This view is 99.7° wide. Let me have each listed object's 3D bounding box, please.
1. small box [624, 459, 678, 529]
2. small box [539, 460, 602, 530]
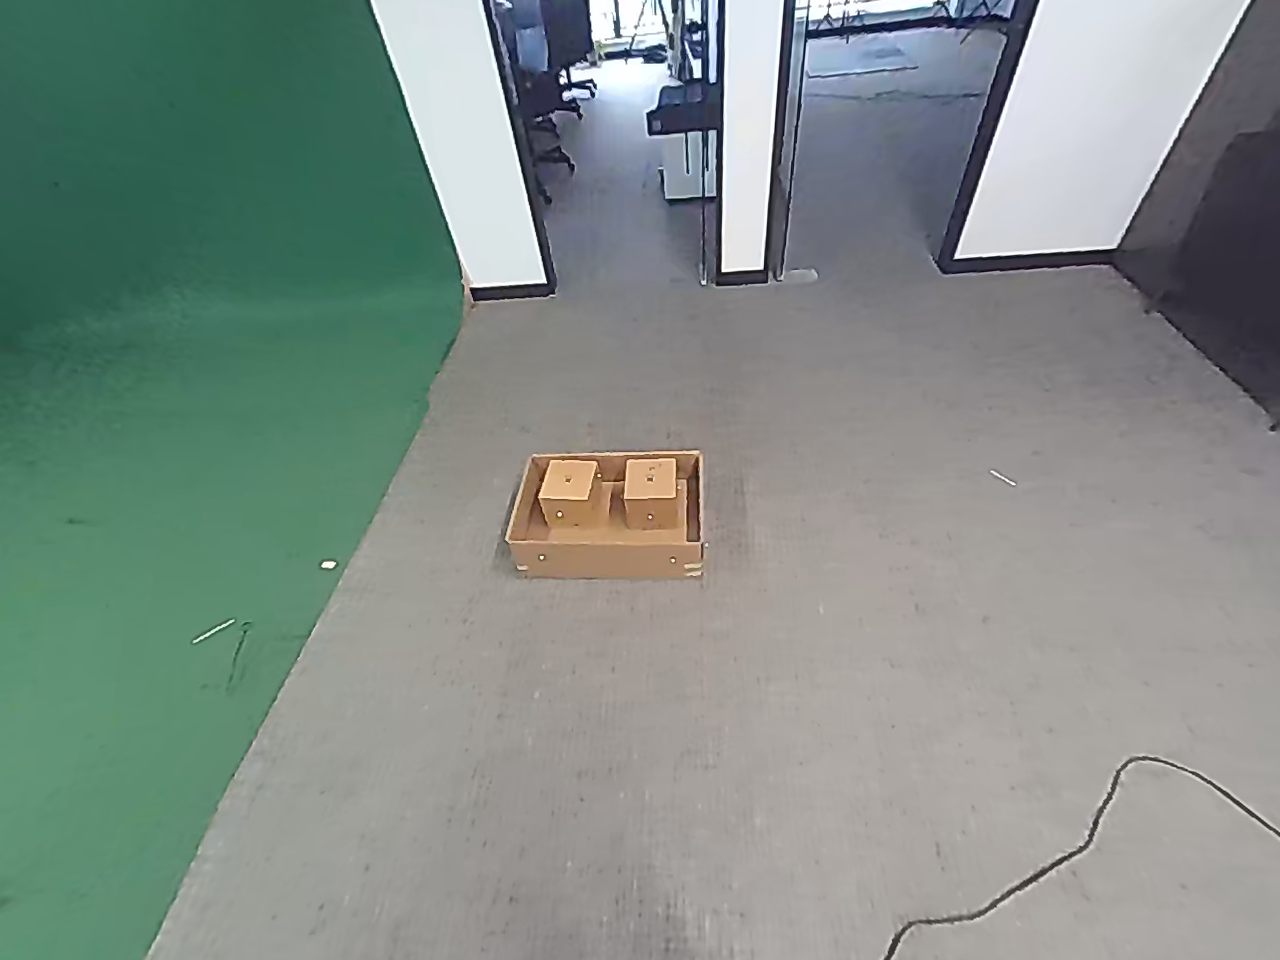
[{"bbox_3d":[0.042,0.051,1.816,0.168,0.176,0.179,-1,48,6],"label":"small box"},{"bbox_3d":[-0.230,0.053,1.849,0.168,0.176,0.179,3,48,8],"label":"small box"}]
